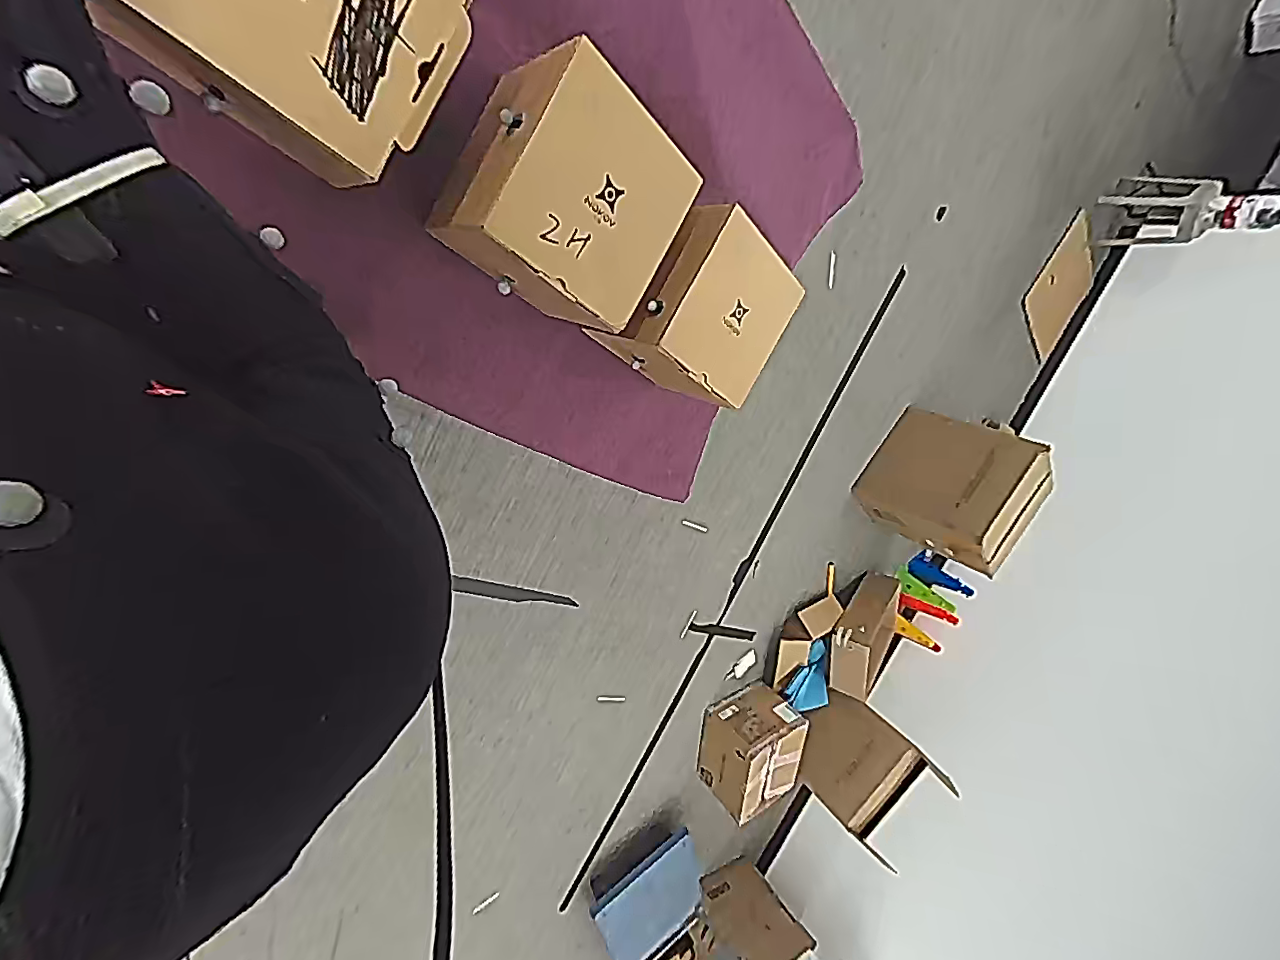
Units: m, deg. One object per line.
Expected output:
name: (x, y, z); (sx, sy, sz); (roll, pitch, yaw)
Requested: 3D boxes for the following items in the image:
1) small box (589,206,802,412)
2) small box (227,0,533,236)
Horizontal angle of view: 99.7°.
small box: (0.064, -0.216, 0.683); (0.168, 0.176, 0.179); (28, 93, -42)
small box: (-0.200, -0.322, 0.408); (0.179, 0.176, 0.168); (2, 150, -34)
